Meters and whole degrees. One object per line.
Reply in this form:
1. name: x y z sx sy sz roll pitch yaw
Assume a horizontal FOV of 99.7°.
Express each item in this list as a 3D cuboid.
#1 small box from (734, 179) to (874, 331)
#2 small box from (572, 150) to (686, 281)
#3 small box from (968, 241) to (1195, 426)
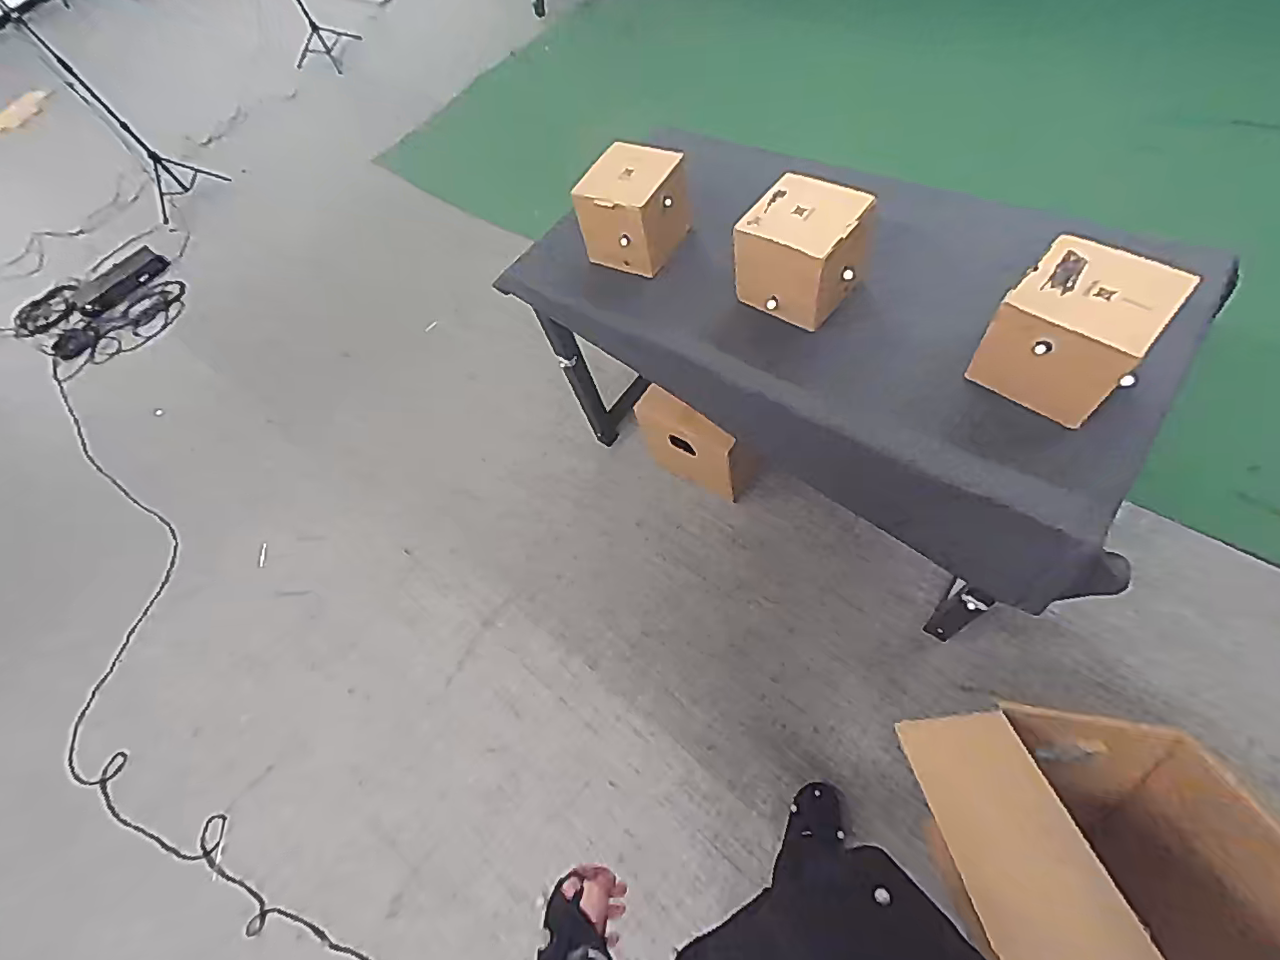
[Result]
1. small box: 0.291 -0.402 0.986 0.179 0.176 0.168 34 74 26
2. small box: -0.011 -0.552 1.137 0.168 0.176 0.179 24 67 21
3. small box: 0.630 -0.210 0.800 0.168 0.176 0.179 -45 62 -12
